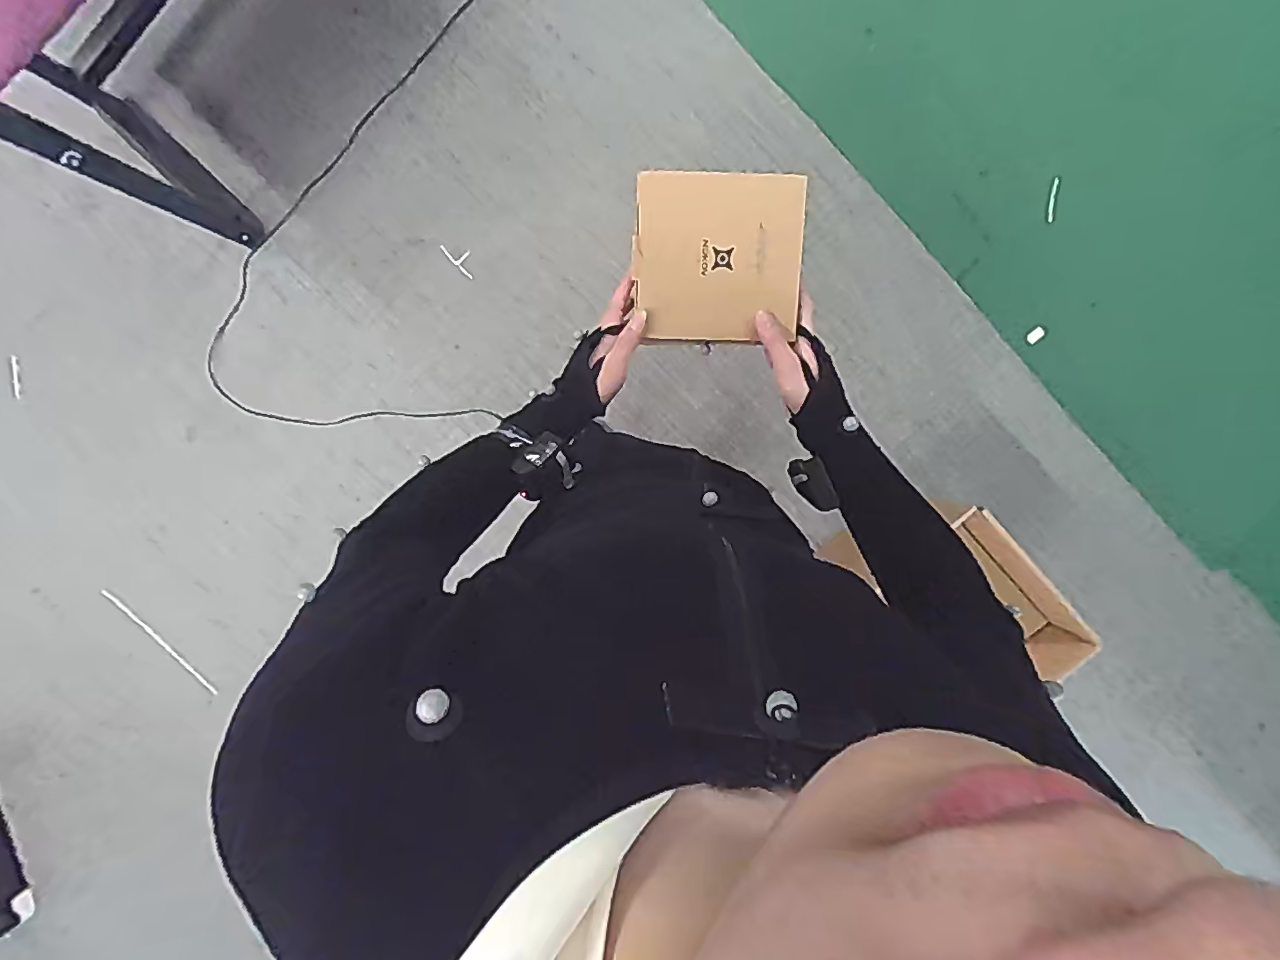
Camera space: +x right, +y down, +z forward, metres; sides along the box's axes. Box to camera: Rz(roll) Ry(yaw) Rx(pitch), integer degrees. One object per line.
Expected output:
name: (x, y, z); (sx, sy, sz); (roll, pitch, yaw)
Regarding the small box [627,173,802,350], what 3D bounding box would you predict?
small box: (0.075, -0.242, 0.639); (0.179, 0.176, 0.168); (1, 102, -1)
